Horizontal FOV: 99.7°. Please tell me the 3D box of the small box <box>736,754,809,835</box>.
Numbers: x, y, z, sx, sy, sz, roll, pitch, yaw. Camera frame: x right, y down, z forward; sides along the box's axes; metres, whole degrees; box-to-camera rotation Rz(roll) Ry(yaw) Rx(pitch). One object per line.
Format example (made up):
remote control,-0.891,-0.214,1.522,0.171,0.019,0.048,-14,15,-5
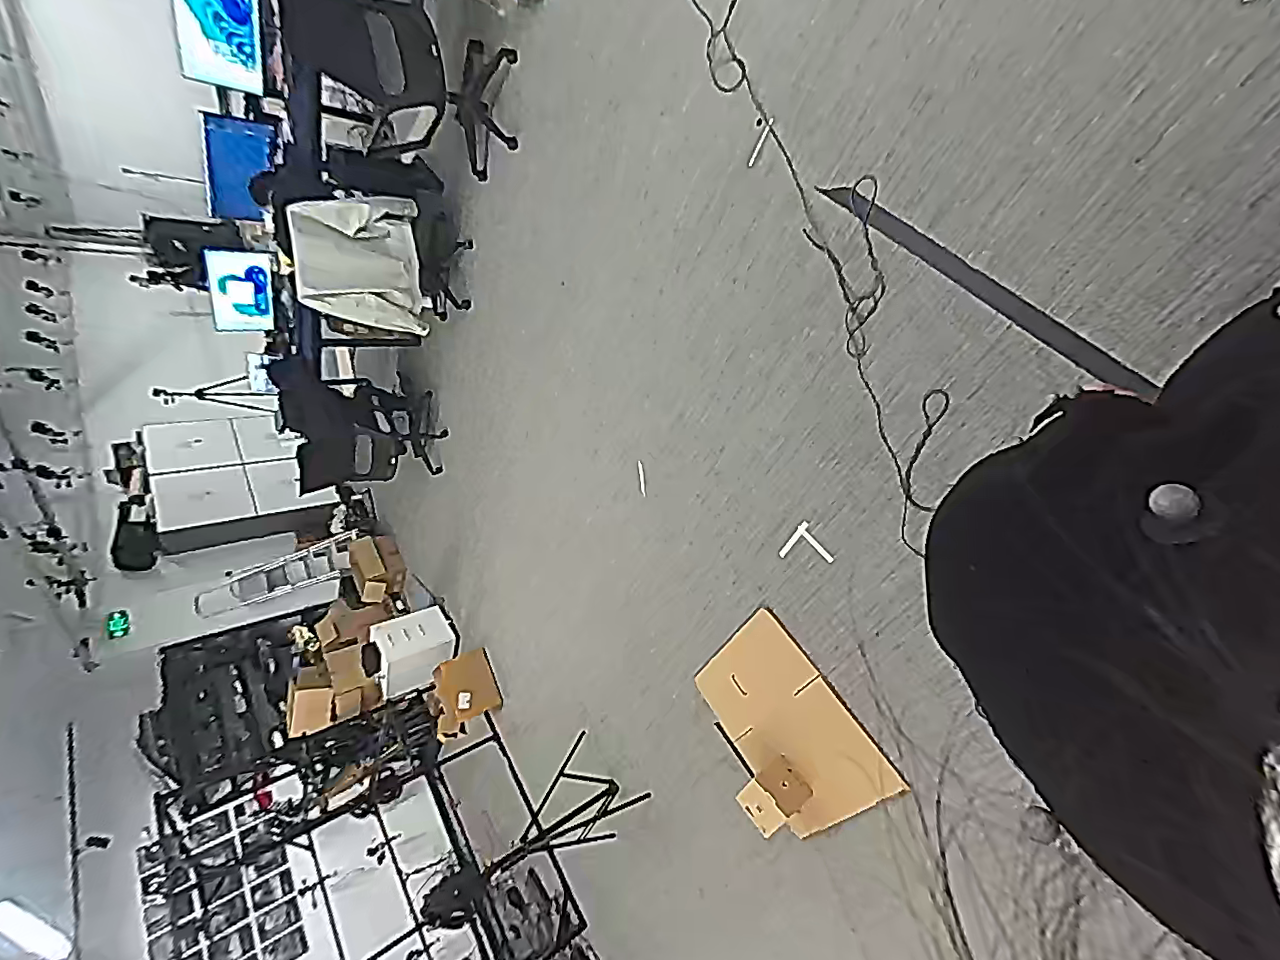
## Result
small box,0.493,1.149,1.986,0.168,0.176,0.179,46,131,32
